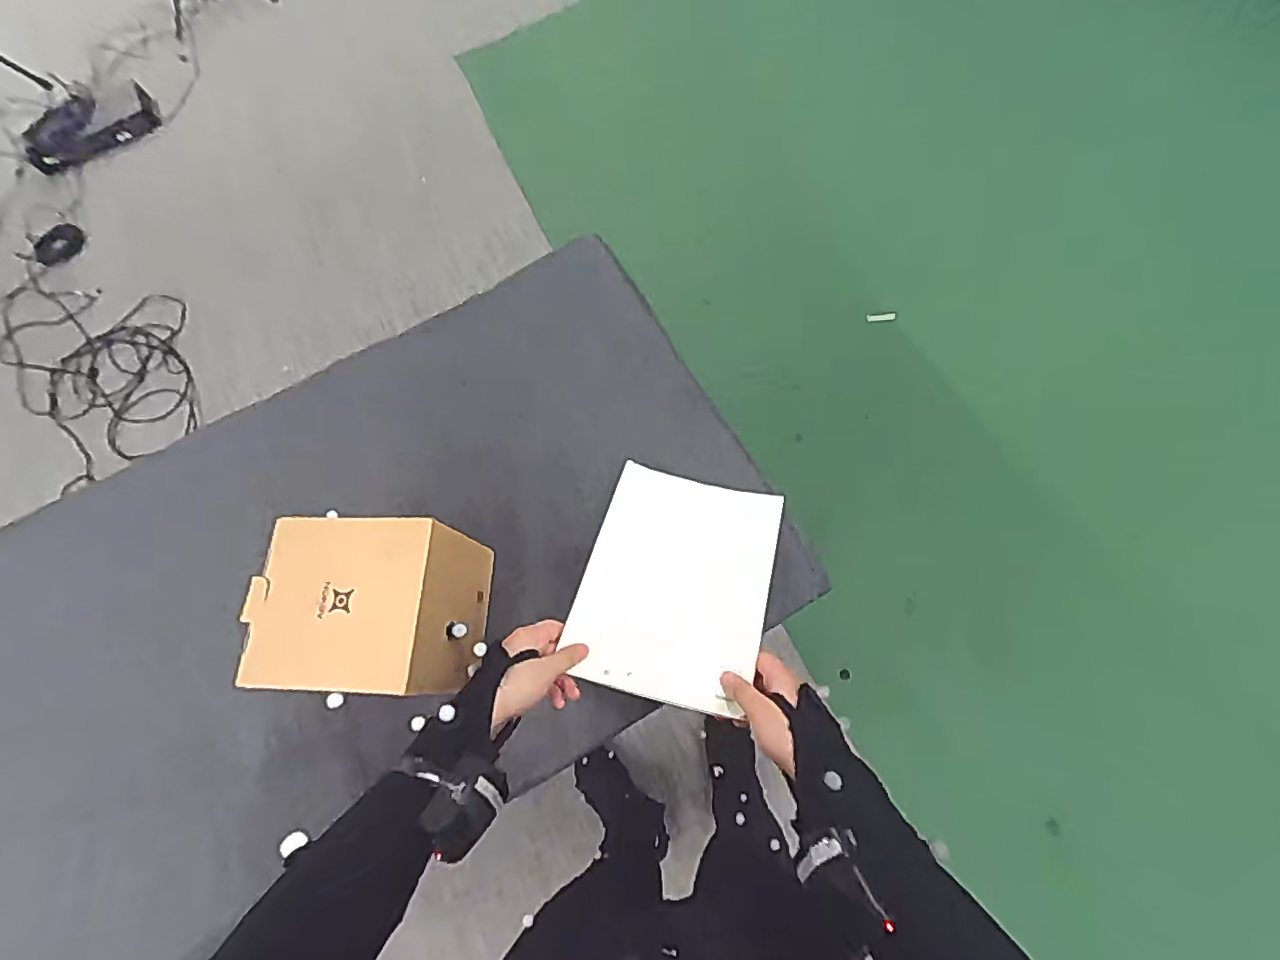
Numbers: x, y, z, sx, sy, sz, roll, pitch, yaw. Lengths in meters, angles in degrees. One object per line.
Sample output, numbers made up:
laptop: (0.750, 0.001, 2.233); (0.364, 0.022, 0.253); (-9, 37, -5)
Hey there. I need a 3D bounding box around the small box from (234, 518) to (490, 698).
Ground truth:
small box: (-0.282, 0.141, 0.593); (0.179, 0.176, 0.168); (-1, 72, 8)
